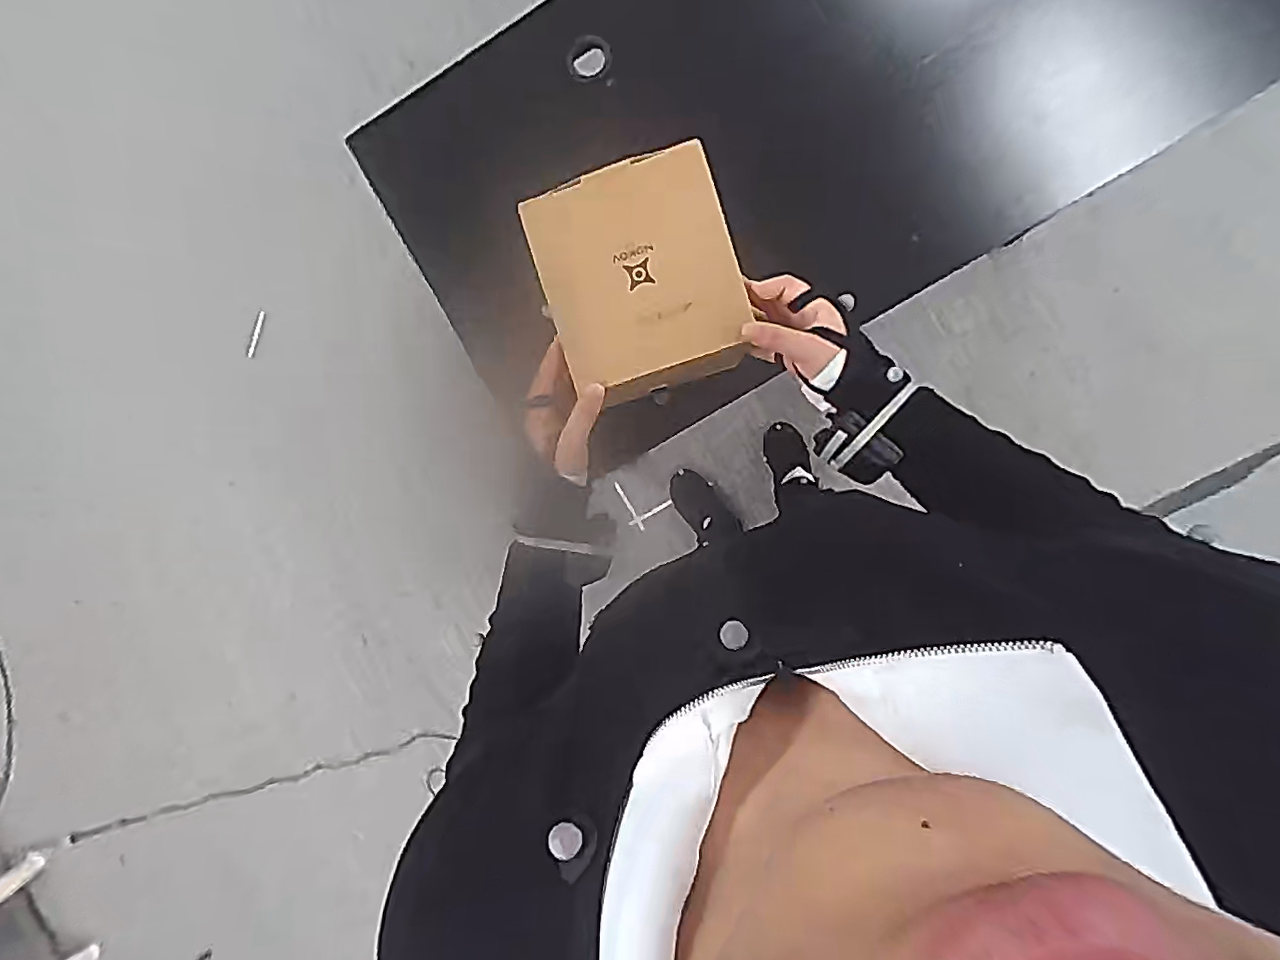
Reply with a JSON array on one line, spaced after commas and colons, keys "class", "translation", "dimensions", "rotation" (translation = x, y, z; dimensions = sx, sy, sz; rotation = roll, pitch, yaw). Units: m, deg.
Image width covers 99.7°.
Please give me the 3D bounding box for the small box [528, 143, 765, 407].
[{"class": "small box", "translation": [0.009, -0.181, 0.537], "dimensions": [0.168, 0.176, 0.179], "rotation": [-17, 93, 5]}]
